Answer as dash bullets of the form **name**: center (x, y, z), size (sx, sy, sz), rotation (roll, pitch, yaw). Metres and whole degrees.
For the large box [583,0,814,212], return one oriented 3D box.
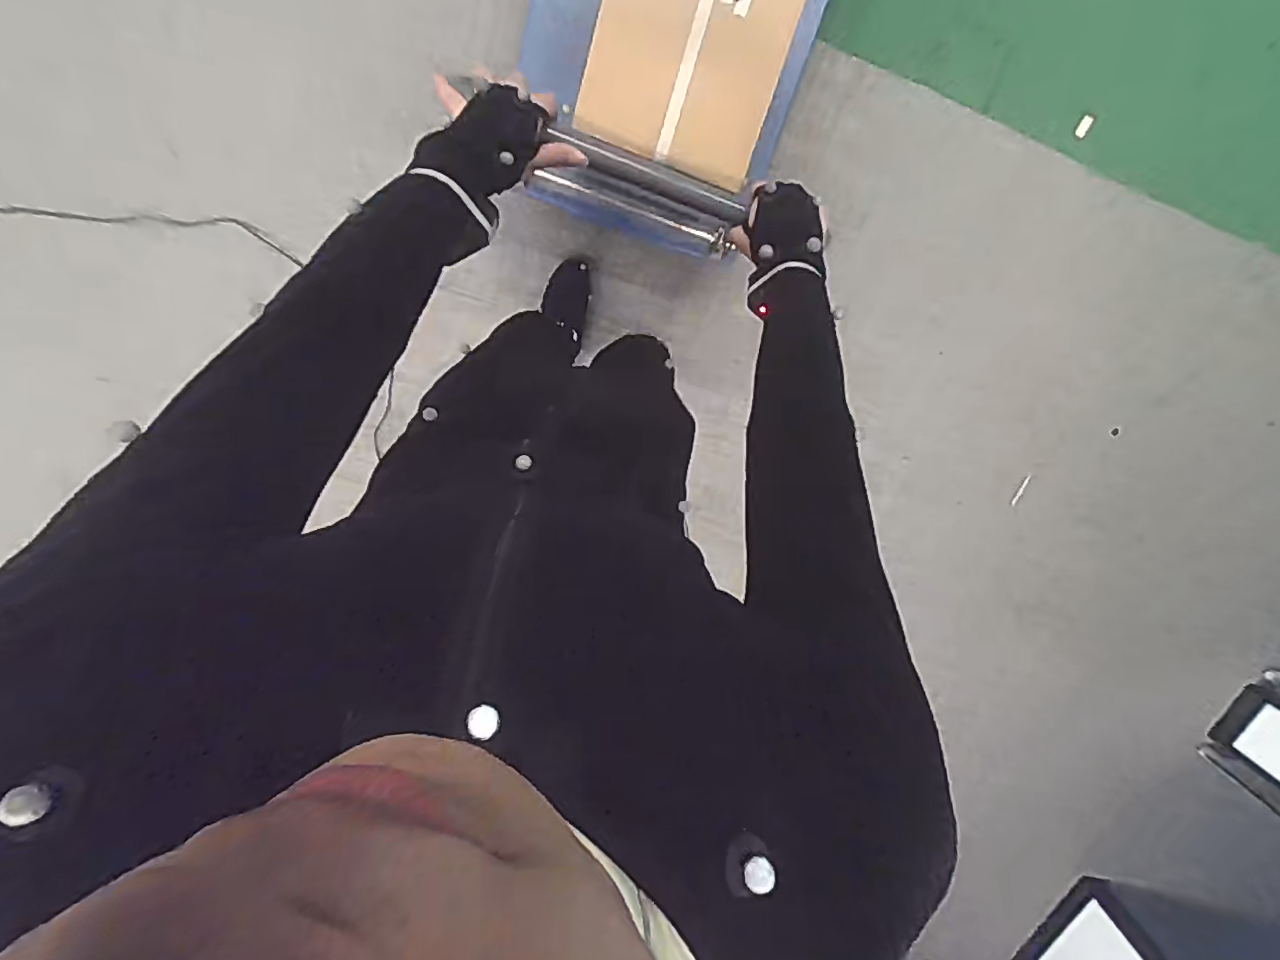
- **large box**: center (0.094, -0.777, 1.012), size (0.320, 0.320, 0.408), rotation (16, 108, -11)
